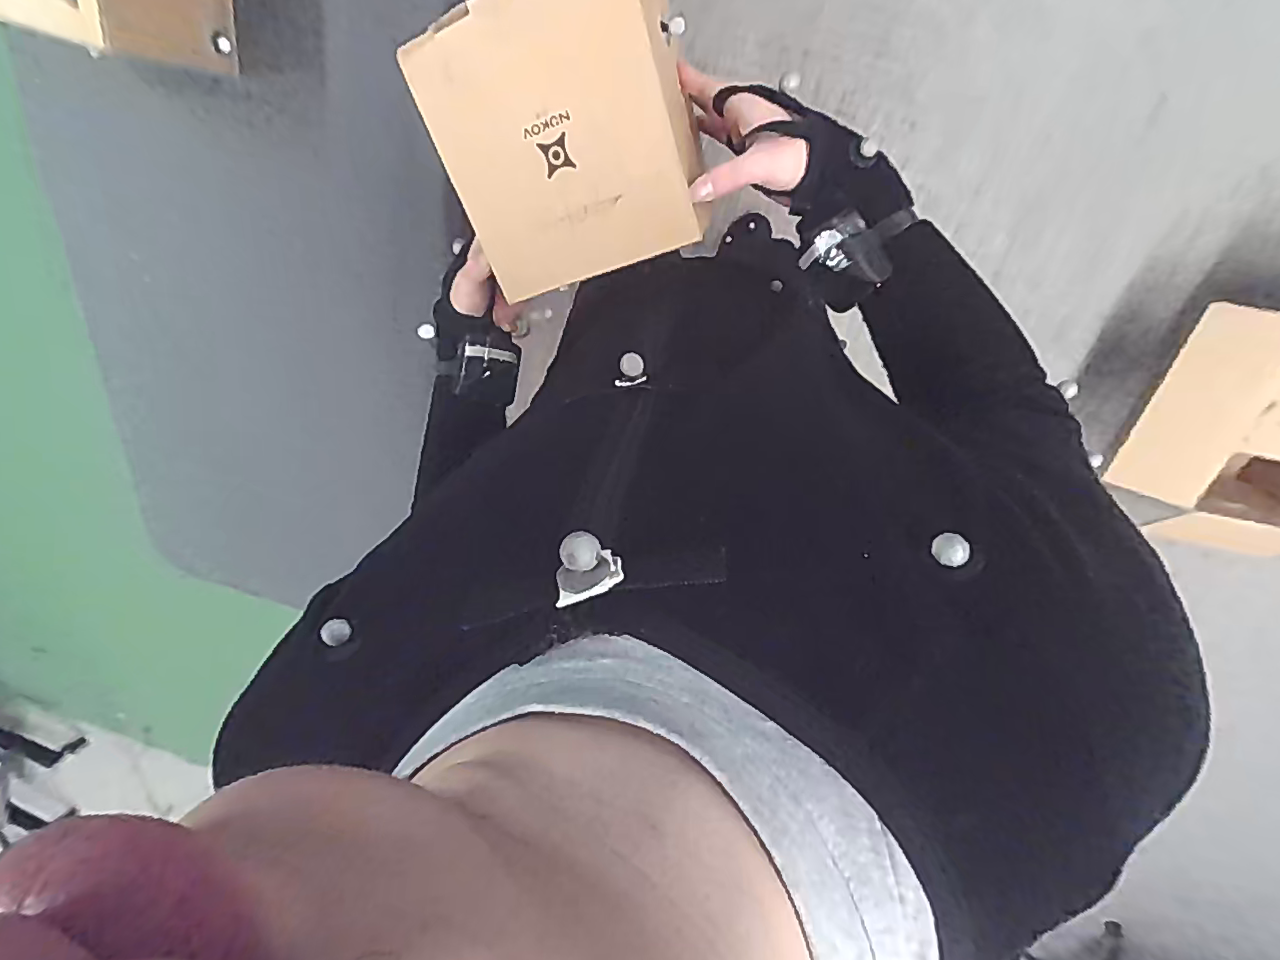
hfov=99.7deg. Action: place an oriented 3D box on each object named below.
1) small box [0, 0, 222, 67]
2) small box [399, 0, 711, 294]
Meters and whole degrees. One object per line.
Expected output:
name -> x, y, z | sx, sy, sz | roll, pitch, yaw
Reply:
small box -> -0.578, -0.557, 0.561 | 0.179, 0.176, 0.168 | 17, 120, 1
small box -> -0.044, -0.275, 0.433 | 0.168, 0.176, 0.179 | -9, 122, 18
